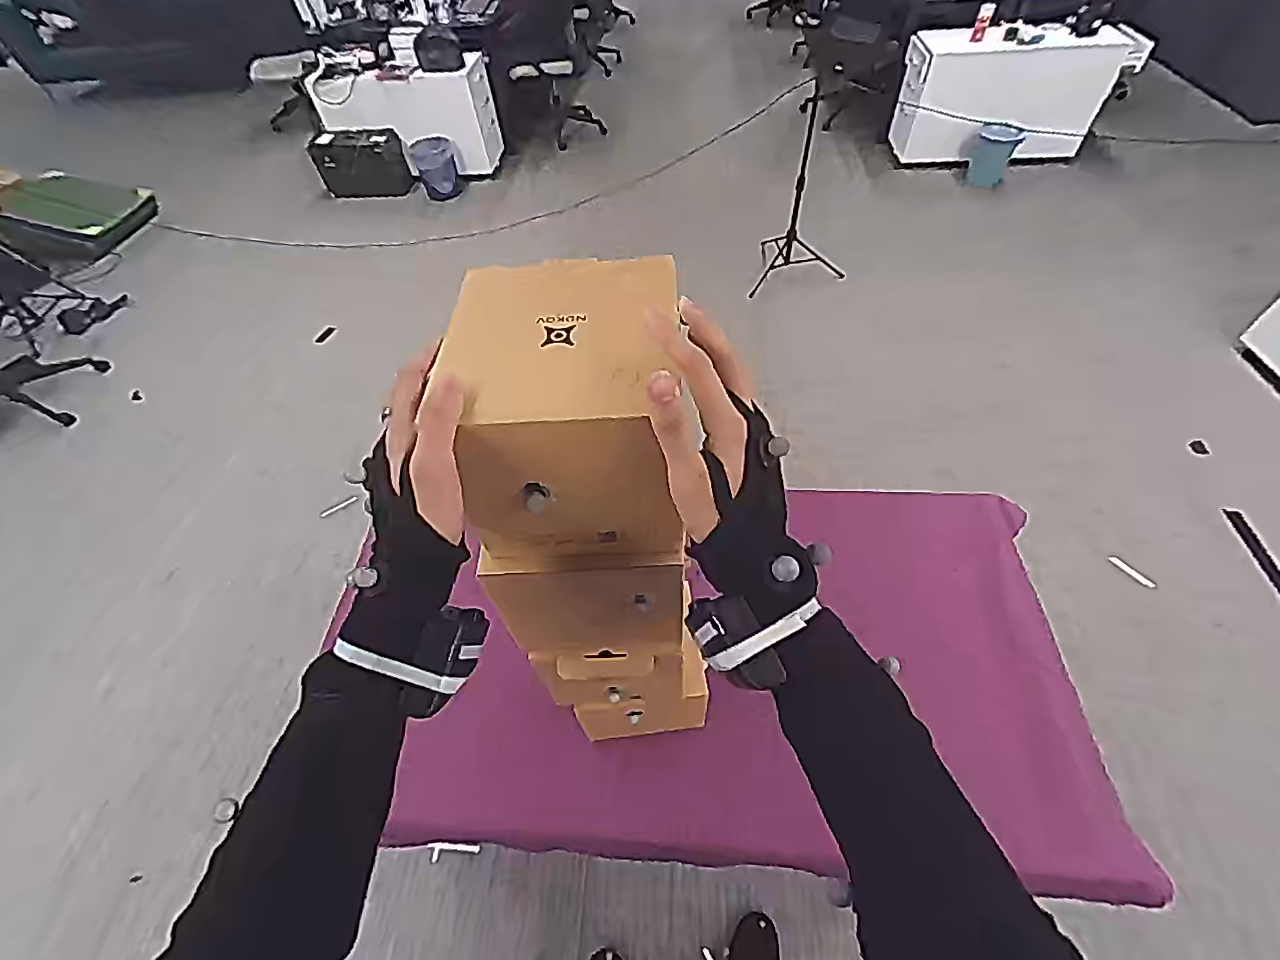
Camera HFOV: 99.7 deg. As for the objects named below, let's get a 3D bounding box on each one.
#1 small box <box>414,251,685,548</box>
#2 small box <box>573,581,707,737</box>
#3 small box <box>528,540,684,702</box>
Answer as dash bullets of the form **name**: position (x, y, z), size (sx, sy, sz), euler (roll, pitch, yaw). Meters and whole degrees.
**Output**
- **small box**: position (-0.049, -0.056, 0.433), size (0.168, 0.176, 0.179), euler (-2, 52, 3)
- **small box**: position (-0.002, 0.269, 0.801), size (0.179, 0.176, 0.168), euler (-6, 53, -2)
- **small box**: position (-0.032, 0.163, 0.677), size (0.168, 0.176, 0.179), euler (-3, 52, 3)
